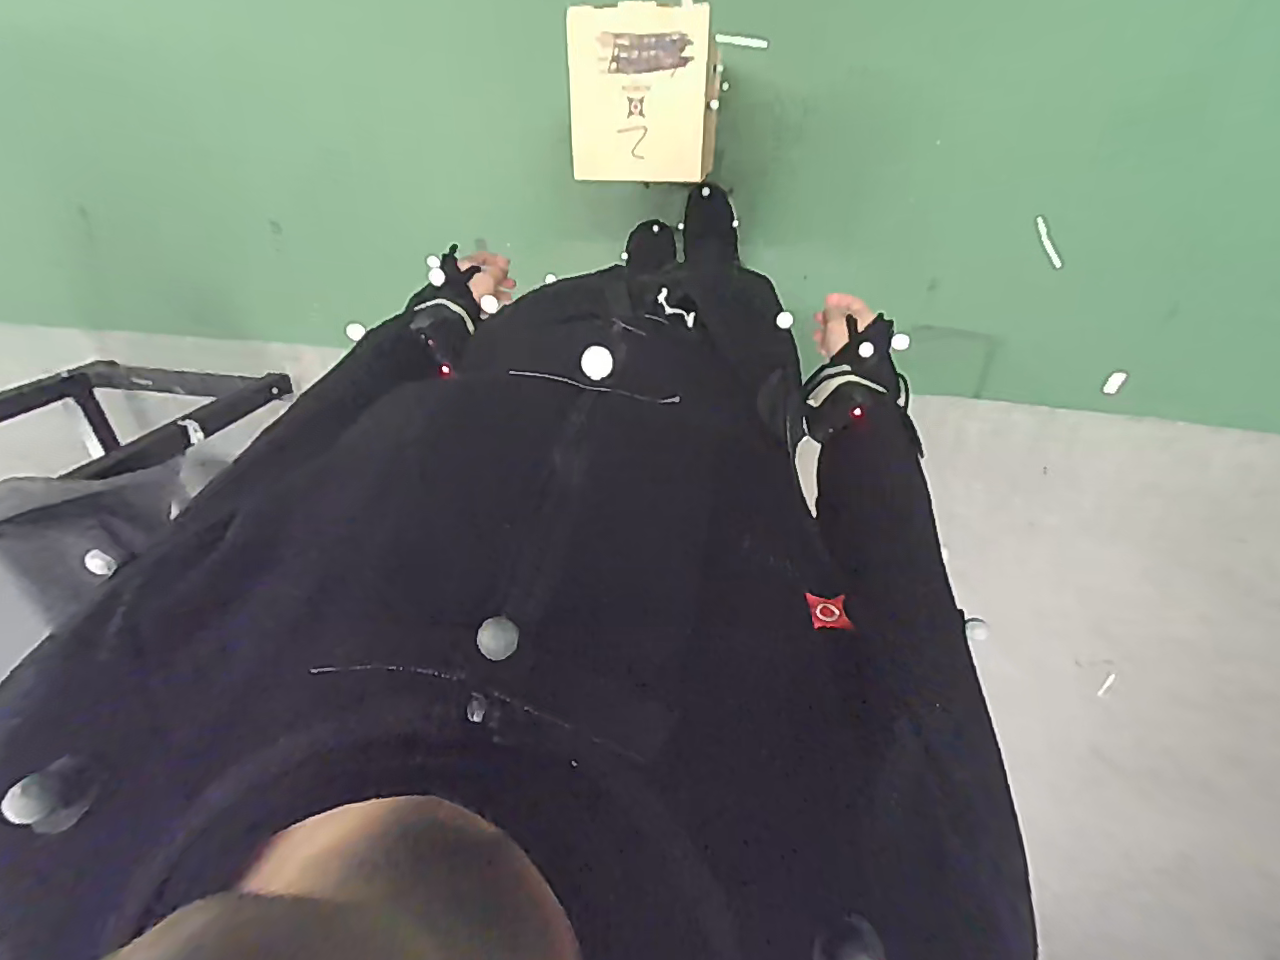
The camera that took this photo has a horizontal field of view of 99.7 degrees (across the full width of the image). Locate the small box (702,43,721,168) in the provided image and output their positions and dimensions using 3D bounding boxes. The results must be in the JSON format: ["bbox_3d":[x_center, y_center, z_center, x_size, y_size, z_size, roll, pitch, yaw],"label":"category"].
[{"bbox_3d":[0.056,-0.674,0.985,0.168,0.176,0.179,5,123,6],"label":"small box"}]

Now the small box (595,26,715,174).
[{"bbox_3d":[0.027,-0.587,0.850,0.168,0.176,0.179,5,121,6],"label":"small box"}]
